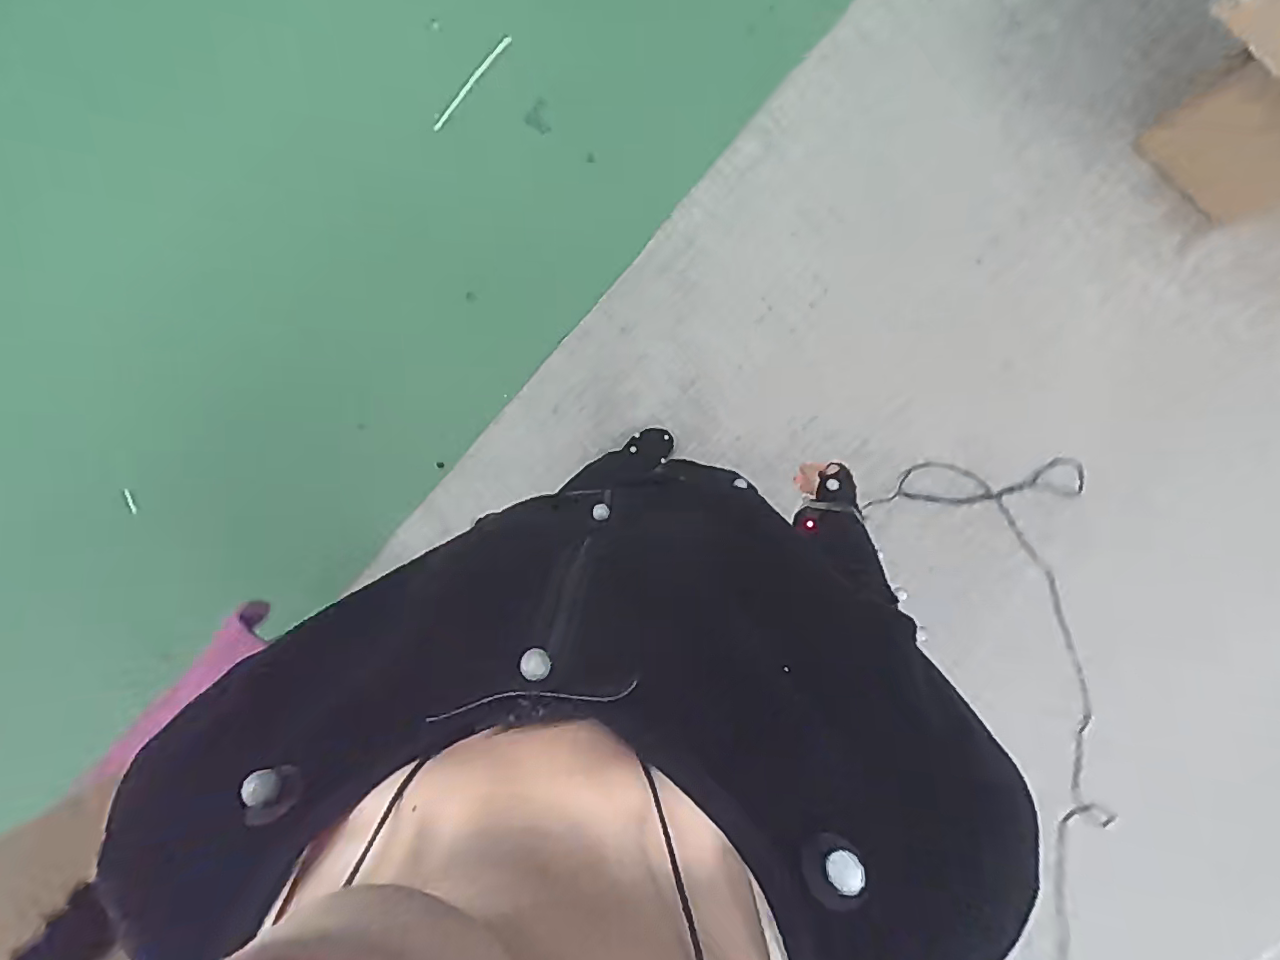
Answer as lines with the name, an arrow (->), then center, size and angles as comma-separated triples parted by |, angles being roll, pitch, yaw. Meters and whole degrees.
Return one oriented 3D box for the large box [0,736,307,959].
large box -> -0.780, 0.663, 0.743 | 0.320, 0.320, 0.408 | 43, 95, -1
